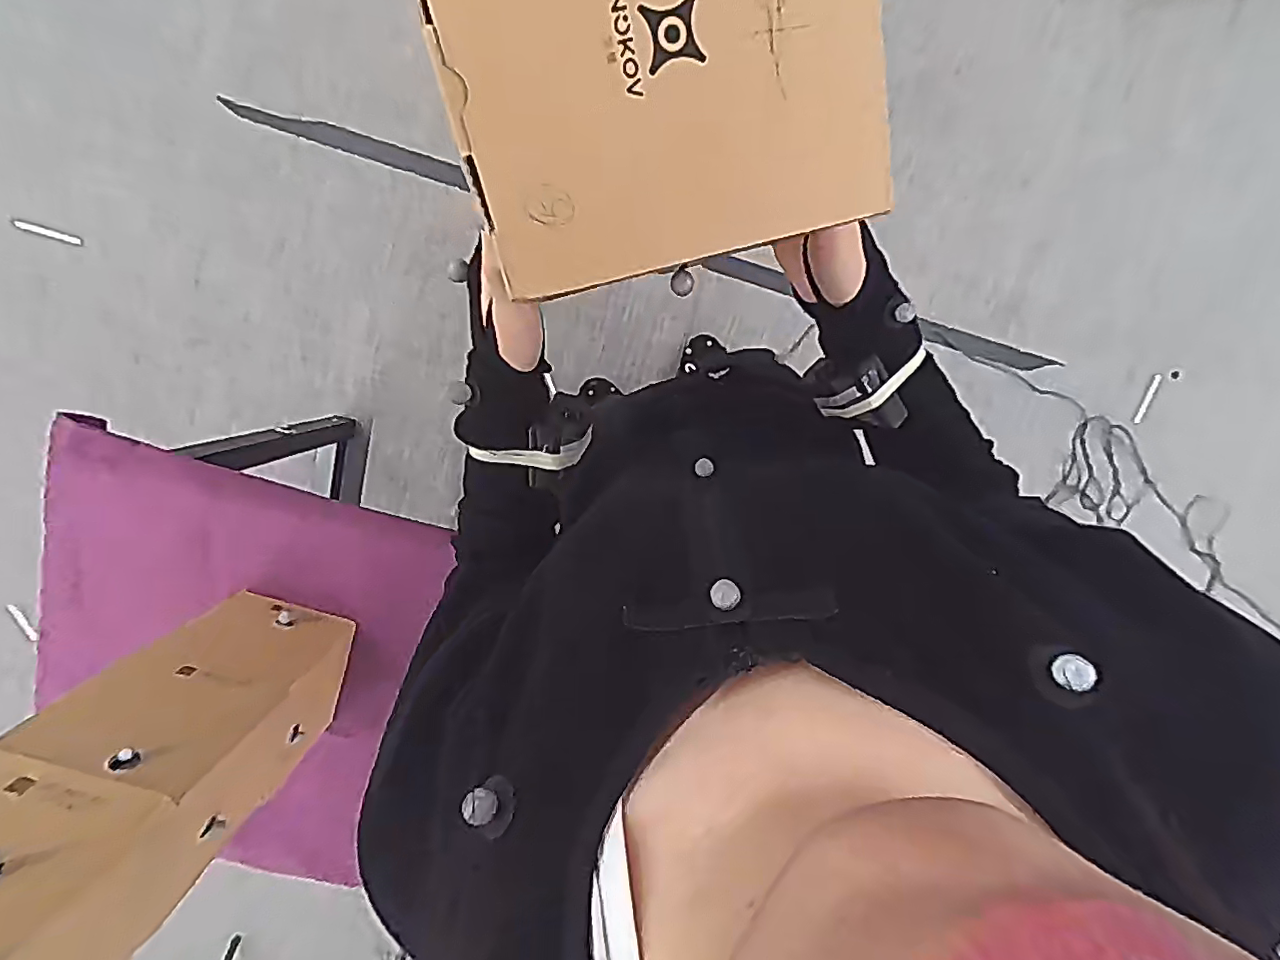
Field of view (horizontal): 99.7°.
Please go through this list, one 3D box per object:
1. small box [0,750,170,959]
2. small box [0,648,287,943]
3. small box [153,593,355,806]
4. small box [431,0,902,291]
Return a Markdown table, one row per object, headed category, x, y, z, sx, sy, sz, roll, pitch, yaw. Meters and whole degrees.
| category | x | y | z | sx | sy | sz | roll | pitch | yaw |
| --- | --- | --- | --- | --- | --- | --- | --- | --- | --- |
| small box | -0.501 | 0.339 | 0.399 | 0.168 | 0.176 | 0.179 | 20 | 102 | -6 |
| small box | -0.507 | 0.311 | 0.559 | 0.168 | 0.176 | 0.179 | 20 | 102 | -6 |
| small box | -0.511 | 0.280 | 0.720 | 0.168 | 0.176 | 0.179 | 18 | 101 | -6 |
| small box | 0.007 | -0.201 | 0.286 | 0.179 | 0.176 | 0.168 | -15 | 111 | 0 |
